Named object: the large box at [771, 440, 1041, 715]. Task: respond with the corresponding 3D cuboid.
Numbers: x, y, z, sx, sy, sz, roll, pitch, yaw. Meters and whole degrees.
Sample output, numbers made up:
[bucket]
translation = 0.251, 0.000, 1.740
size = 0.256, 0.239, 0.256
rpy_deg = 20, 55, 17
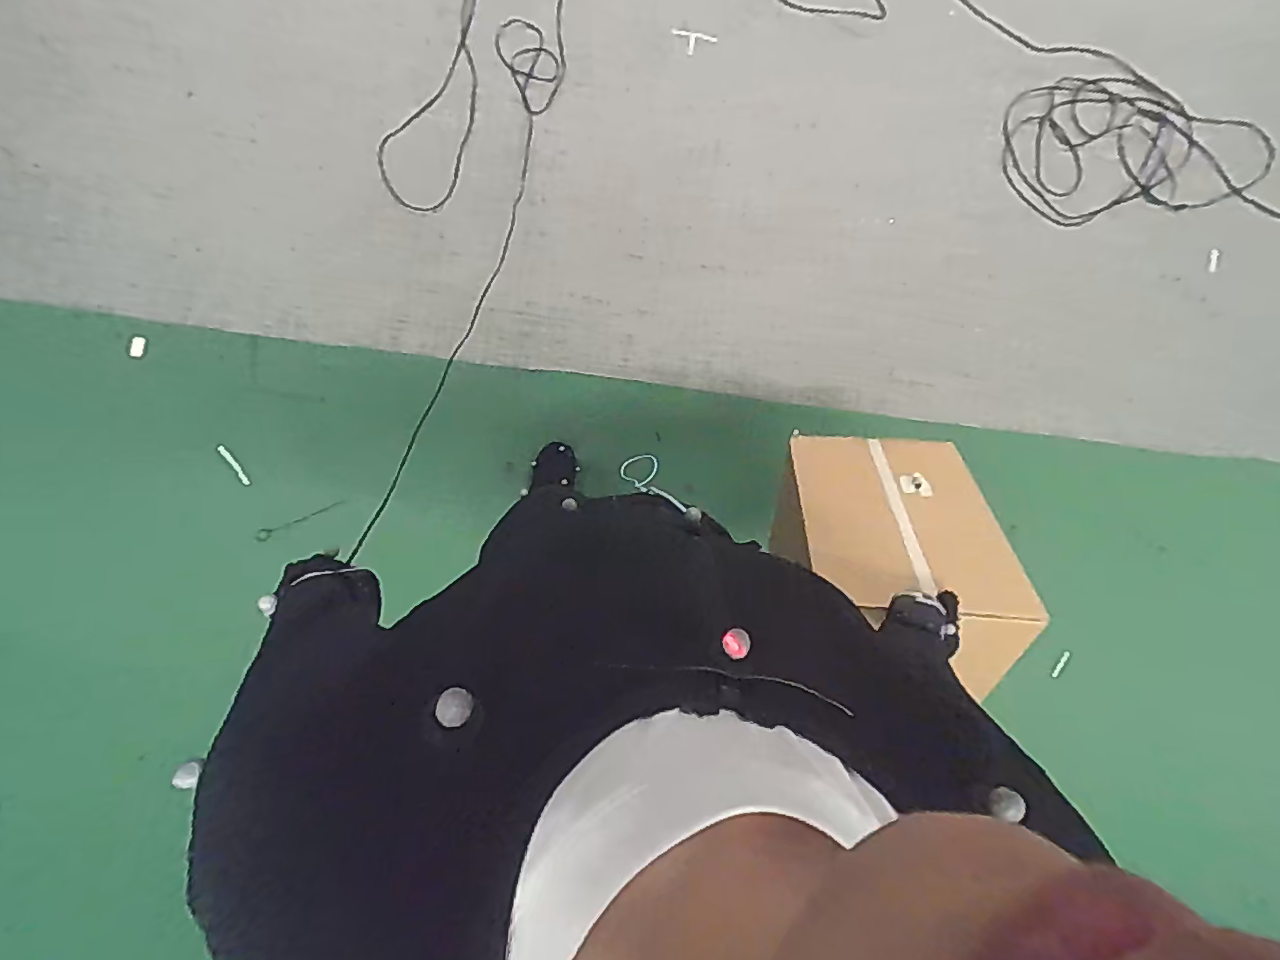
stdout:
[large box]
translation = 0.432, 0.171, 1.008
size = 0.320, 0.408, 0.320
rpy_deg = 3, 131, 5
